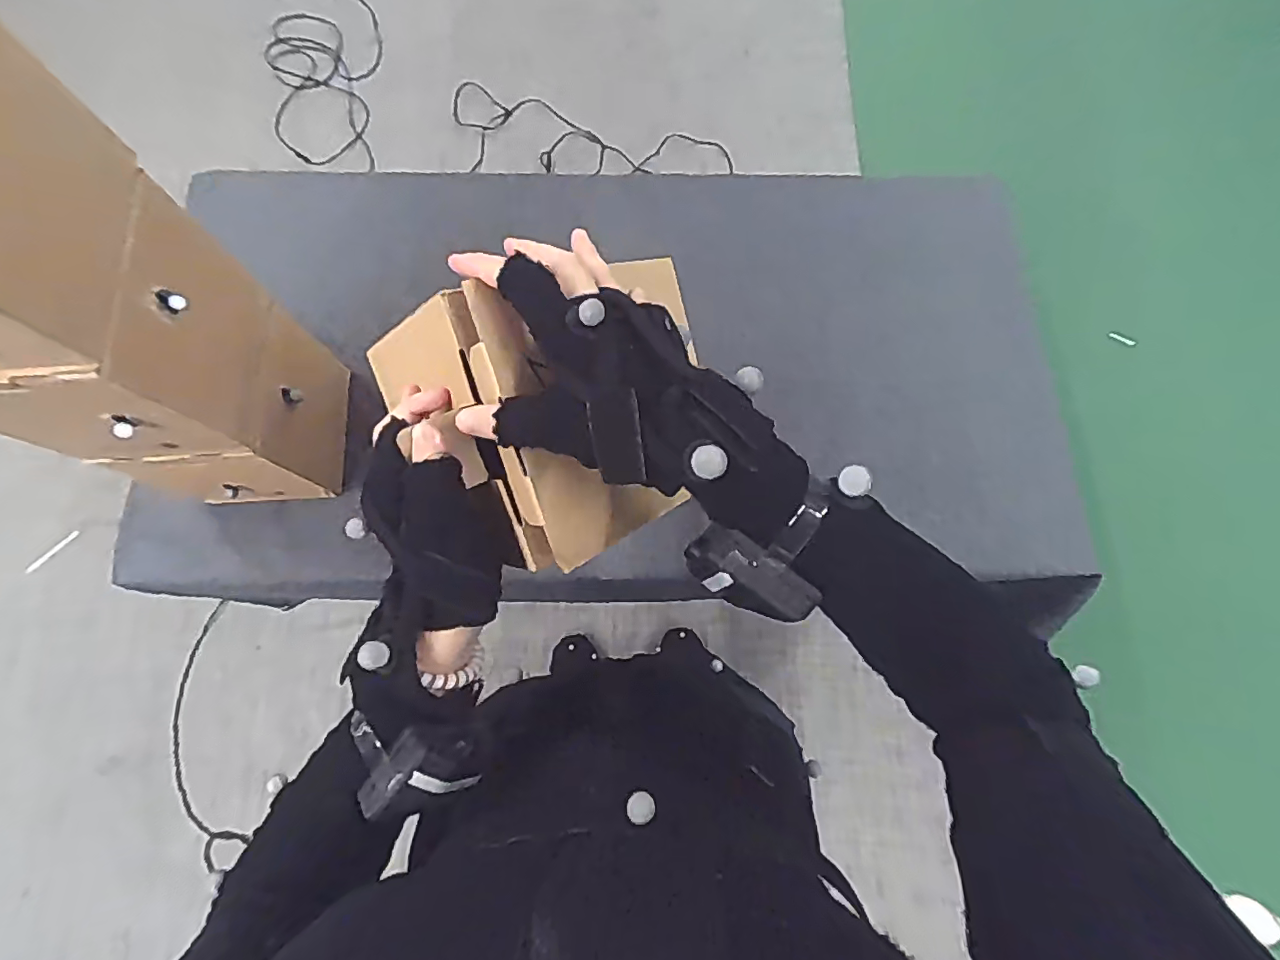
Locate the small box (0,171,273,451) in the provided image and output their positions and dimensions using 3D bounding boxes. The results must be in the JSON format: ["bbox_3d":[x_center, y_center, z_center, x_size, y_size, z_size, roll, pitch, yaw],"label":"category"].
[{"bbox_3d":[-0.453,-0.128,0.464,0.168,0.176,0.179,-2,74,-3],"label":"small box"}]

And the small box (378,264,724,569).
[{"bbox_3d":[-0.068,-0.051,0.412,0.179,0.176,0.168,-25,104,-36],"label":"small box"}]

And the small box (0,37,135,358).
[{"bbox_3d":[-0.448,-0.179,0.308,0.168,0.176,0.179,-4,74,-4],"label":"small box"}]

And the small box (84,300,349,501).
[{"bbox_3d":[-0.458,-0.082,0.620,0.168,0.176,0.179,-3,75,-3],"label":"small box"}]
